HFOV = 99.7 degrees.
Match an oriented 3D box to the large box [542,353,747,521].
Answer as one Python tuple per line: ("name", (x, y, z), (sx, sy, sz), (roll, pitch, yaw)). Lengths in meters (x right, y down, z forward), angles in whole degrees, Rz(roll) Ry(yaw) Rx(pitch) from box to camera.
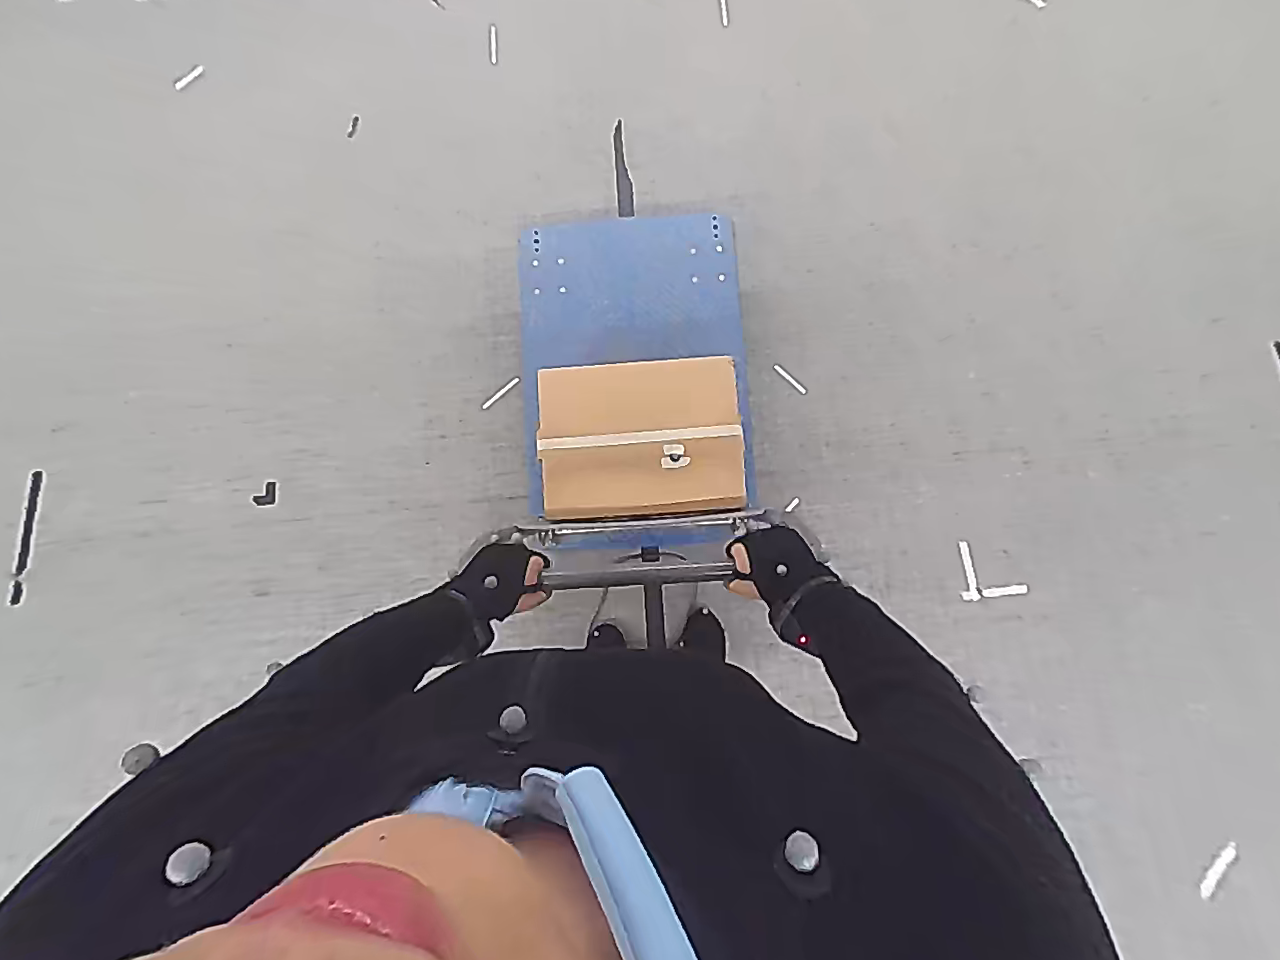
("large box", (0.008, -0.079, 1.249), (0.408, 0.320, 0.320), (-4, 85, 1))
